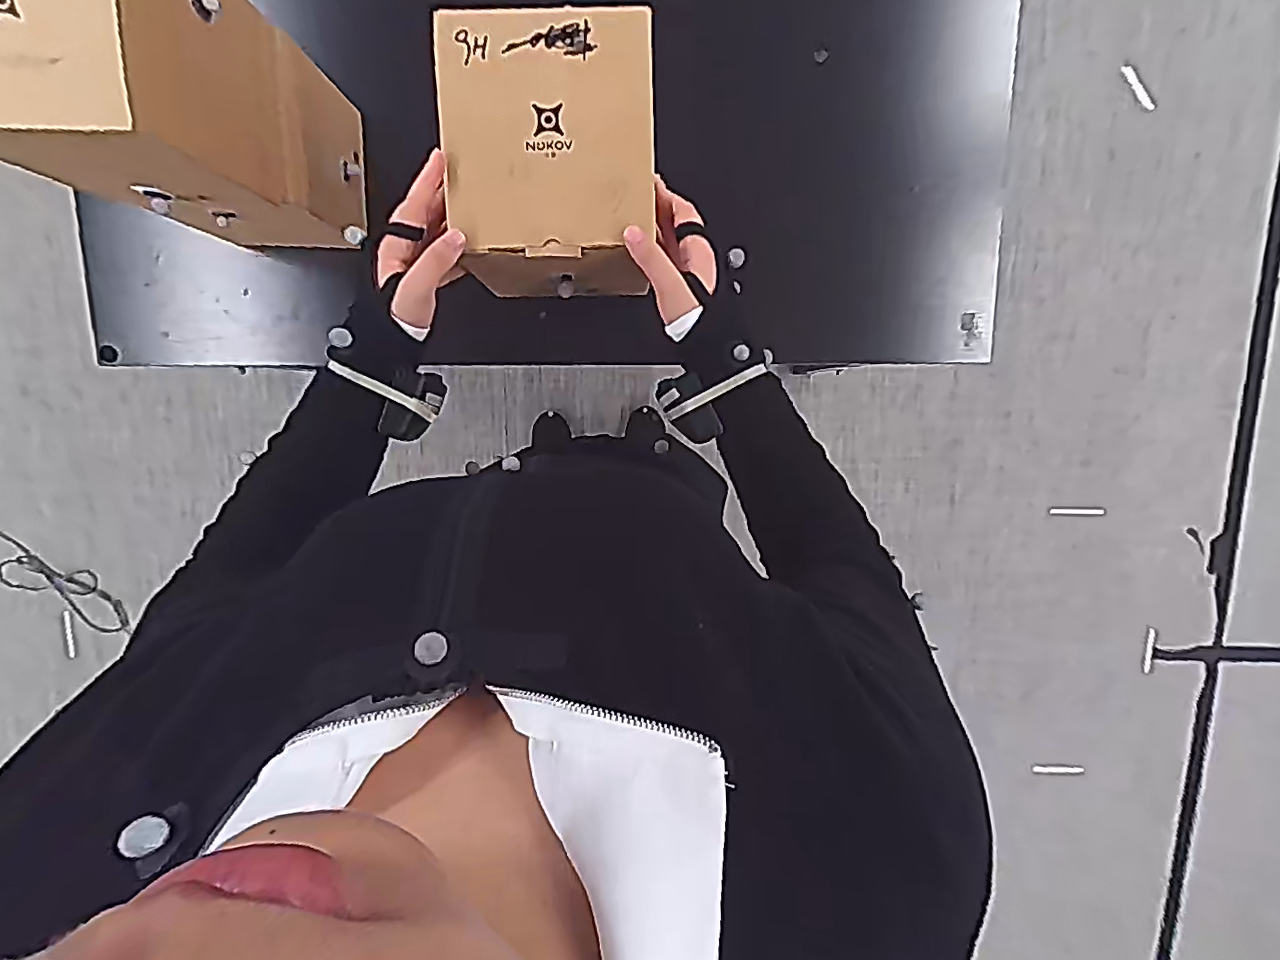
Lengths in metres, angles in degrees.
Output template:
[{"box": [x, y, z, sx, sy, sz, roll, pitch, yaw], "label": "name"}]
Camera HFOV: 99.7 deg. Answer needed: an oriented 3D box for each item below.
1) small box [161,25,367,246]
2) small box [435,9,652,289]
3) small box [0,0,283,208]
[{"box": [-0.440, -0.377, 0.618, 0.179, 0.176, 0.168, 1, 98, -2], "label": "small box"}, {"box": [-0.072, -0.279, 0.499, 0.168, 0.176, 0.179, -2, 98, -1], "label": "small box"}, {"box": [-0.440, -0.353, 0.458, 0.168, 0.176, 0.179, 0, 99, 0], "label": "small box"}]
